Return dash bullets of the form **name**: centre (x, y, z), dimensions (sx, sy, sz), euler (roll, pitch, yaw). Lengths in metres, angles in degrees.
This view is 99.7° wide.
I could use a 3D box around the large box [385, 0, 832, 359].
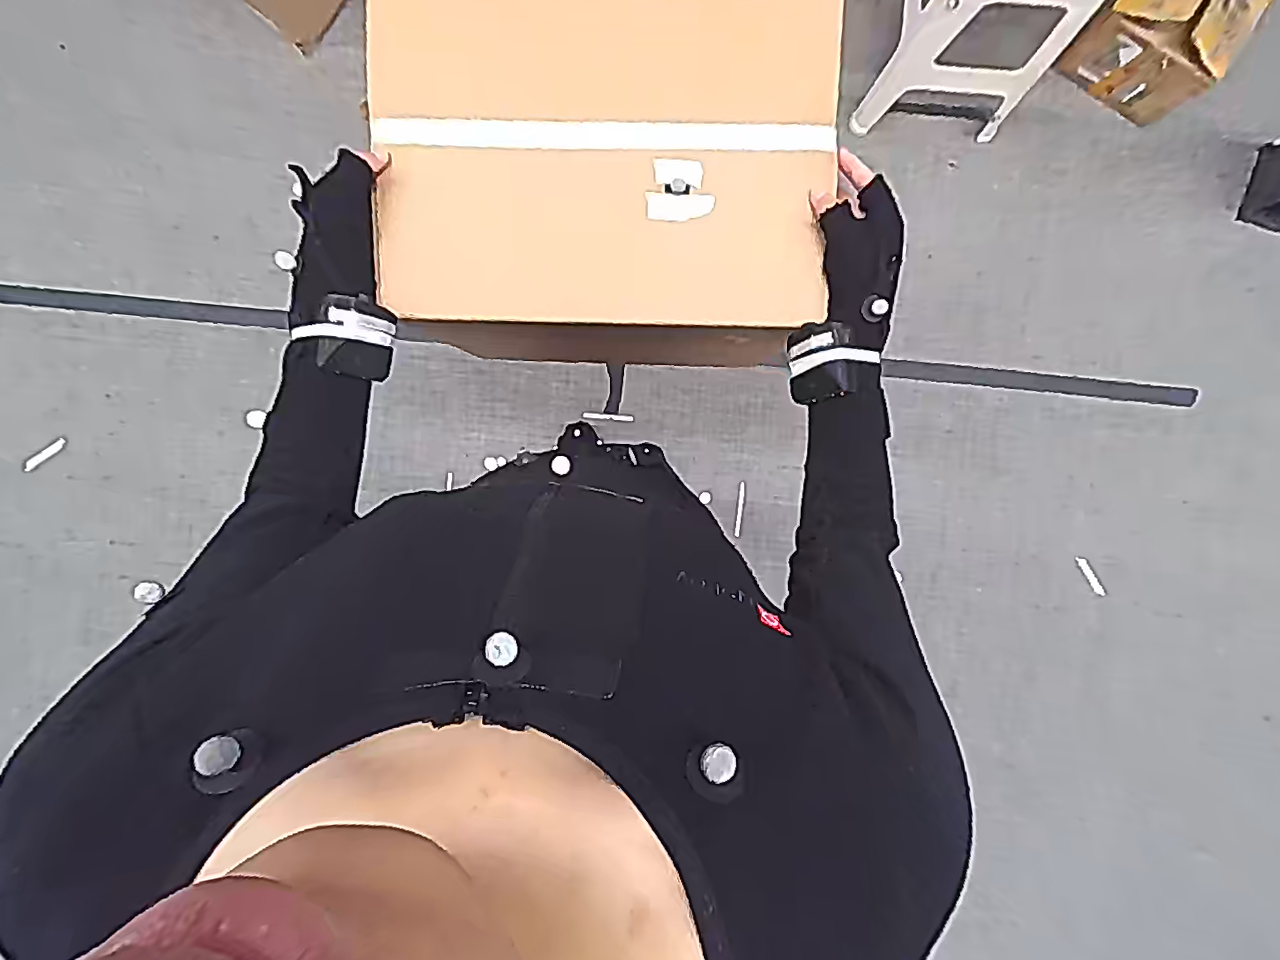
- **large box**: centre (-0.031, -0.318, 0.637), dimensions (0.408, 0.320, 0.320), euler (1, 96, 0)
